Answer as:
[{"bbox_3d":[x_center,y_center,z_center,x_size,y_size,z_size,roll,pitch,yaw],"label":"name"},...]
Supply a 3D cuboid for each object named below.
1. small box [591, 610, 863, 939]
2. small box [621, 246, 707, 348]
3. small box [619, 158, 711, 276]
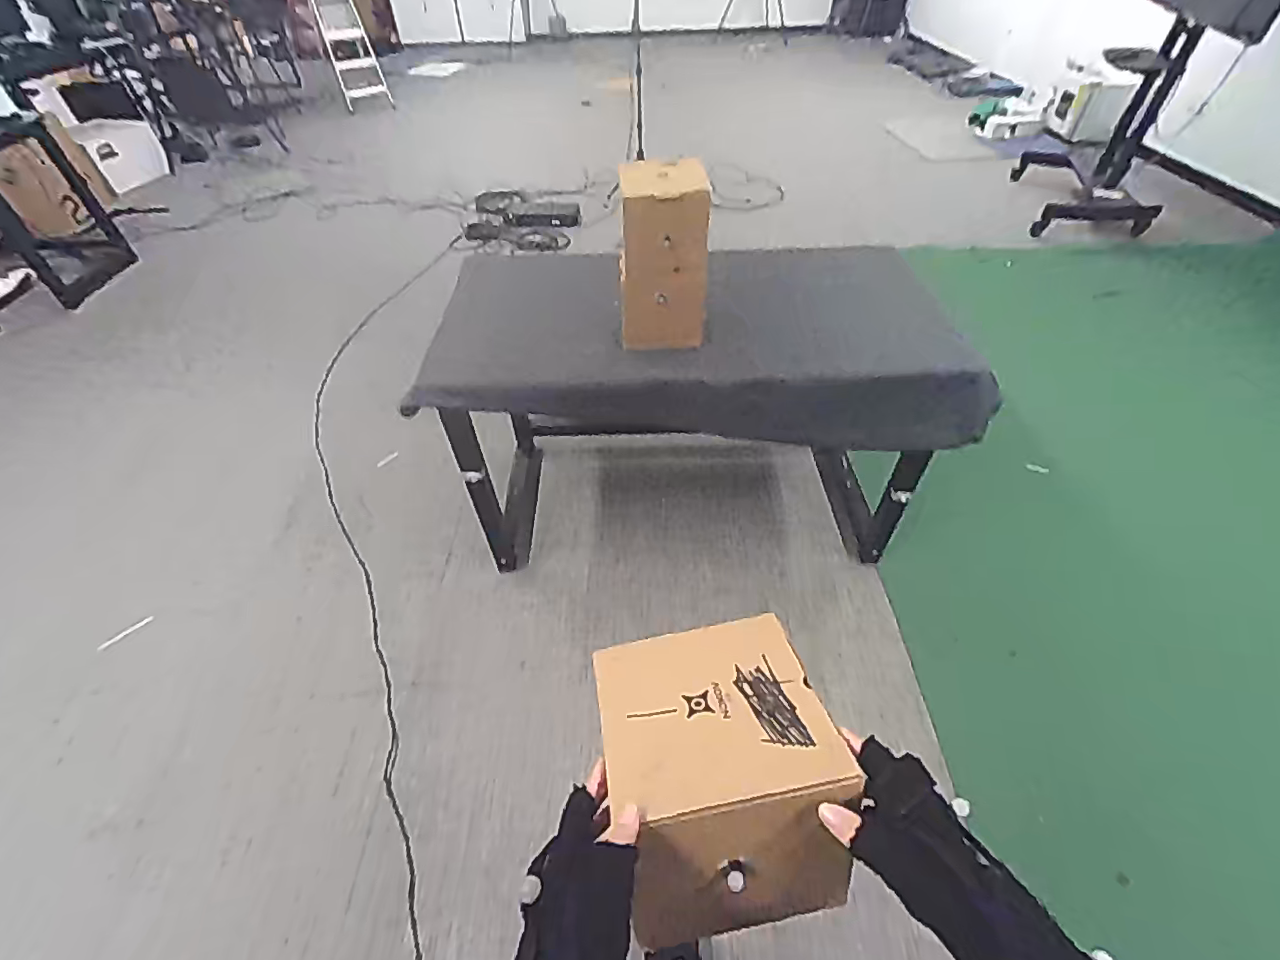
[{"bbox_3d":[0.060,0.243,0.465,0.179,0.176,0.168,-9,28,-8],"label":"small box"},{"bbox_3d":[0.048,-0.407,1.202,0.179,0.176,0.168,-1,48,-1],"label":"small box"},{"bbox_3d":[0.047,-0.522,1.086,0.168,0.176,0.179,-3,48,-1],"label":"small box"}]
